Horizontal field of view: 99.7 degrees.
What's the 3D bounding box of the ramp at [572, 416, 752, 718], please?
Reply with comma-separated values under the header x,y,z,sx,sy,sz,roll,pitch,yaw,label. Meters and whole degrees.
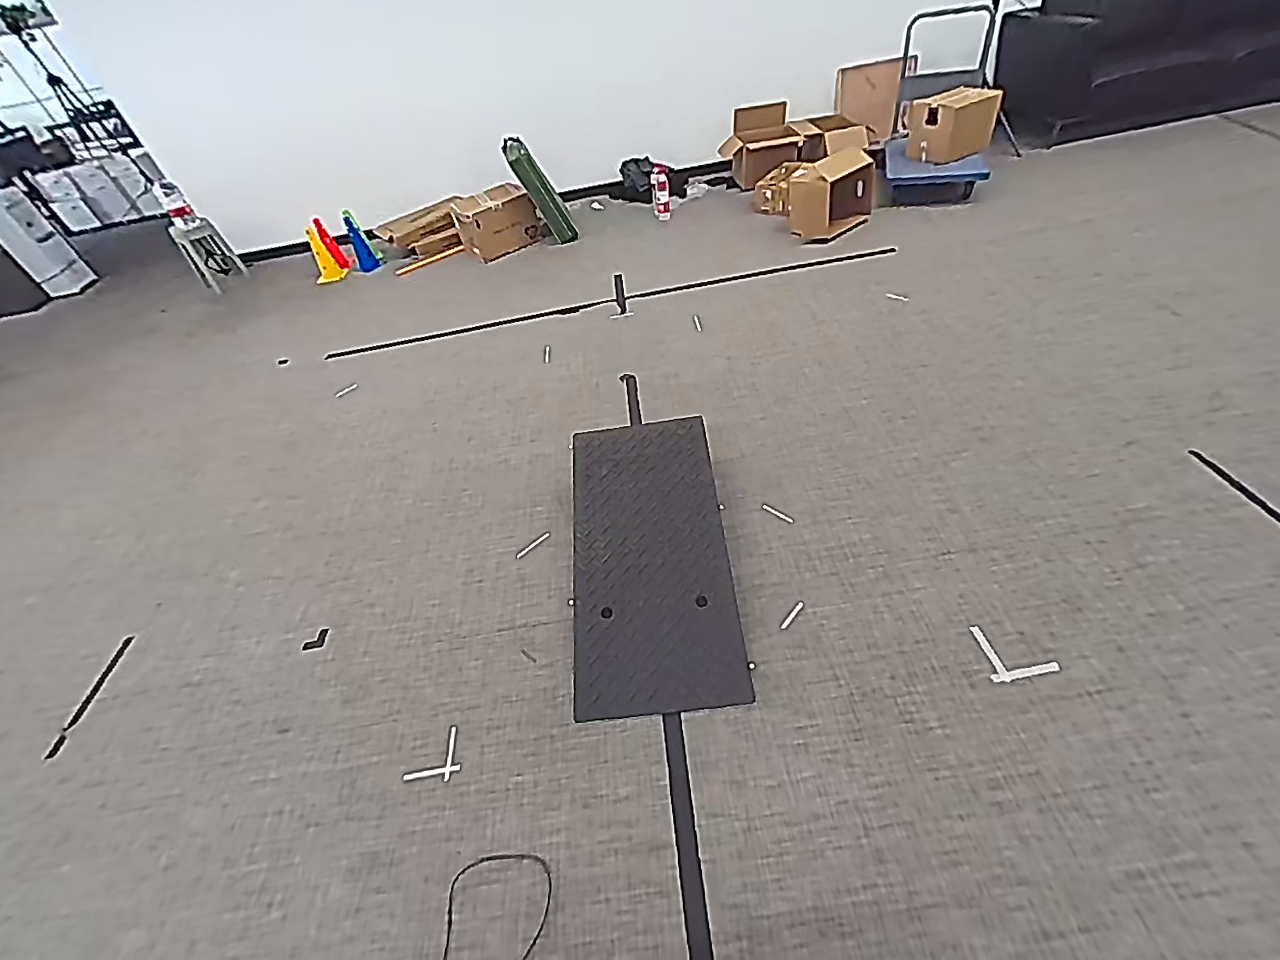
x,y,z,sx,sy,sz,roll,pitch,yaw,label
0.025,0.206,1.732,0.509,0.206,0.991,-8,45,2,ramp
